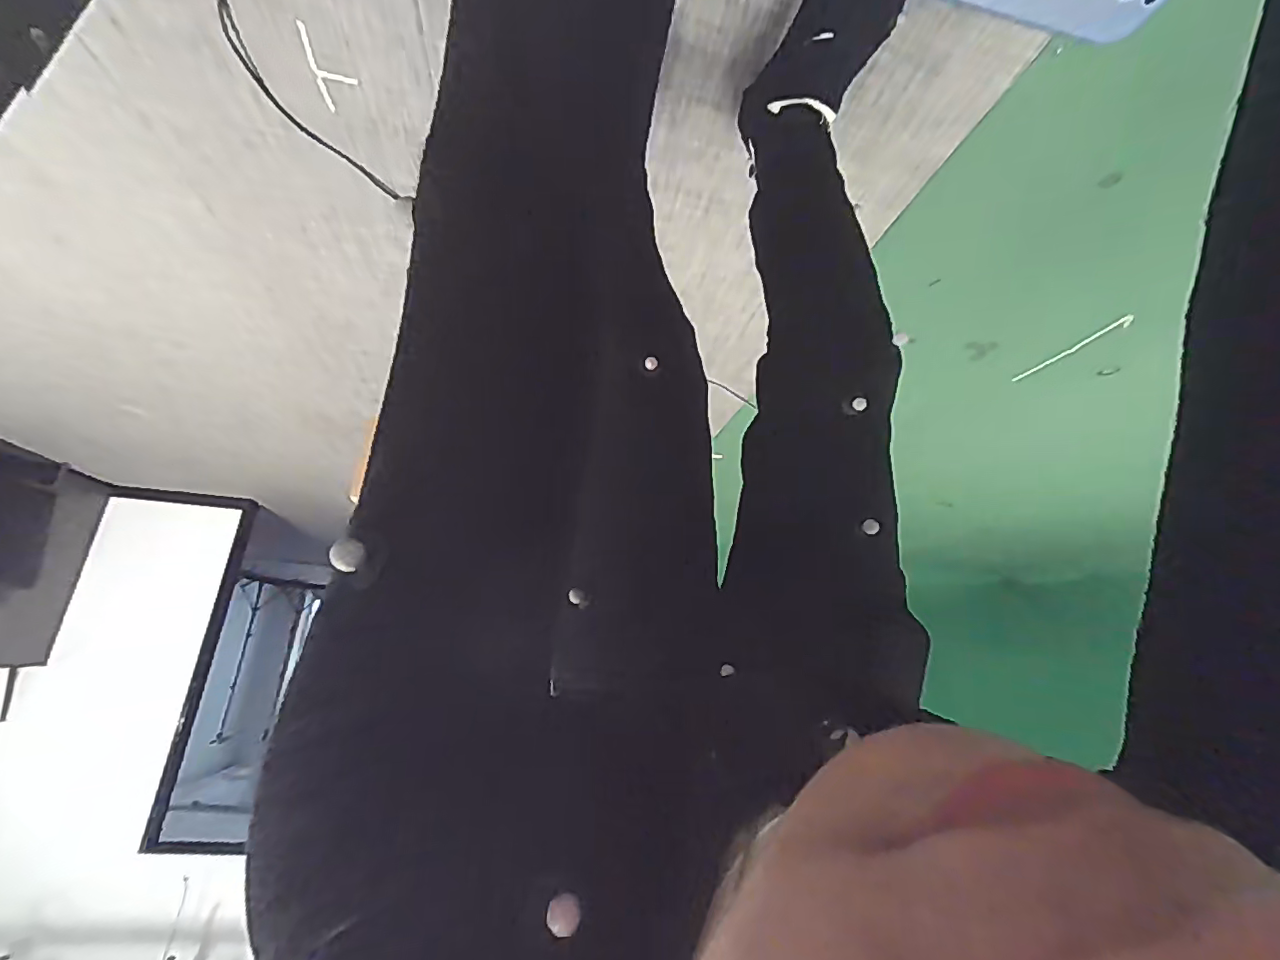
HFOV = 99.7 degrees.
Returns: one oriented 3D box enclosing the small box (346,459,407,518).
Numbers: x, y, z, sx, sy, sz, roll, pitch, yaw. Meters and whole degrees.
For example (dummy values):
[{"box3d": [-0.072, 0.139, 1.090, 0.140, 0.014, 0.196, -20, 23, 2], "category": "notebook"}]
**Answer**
[{"box3d": [-1.012, 0.034, 2.091, 0.168, 0.176, 0.179, 10, 160, -15], "category": "small box"}]
